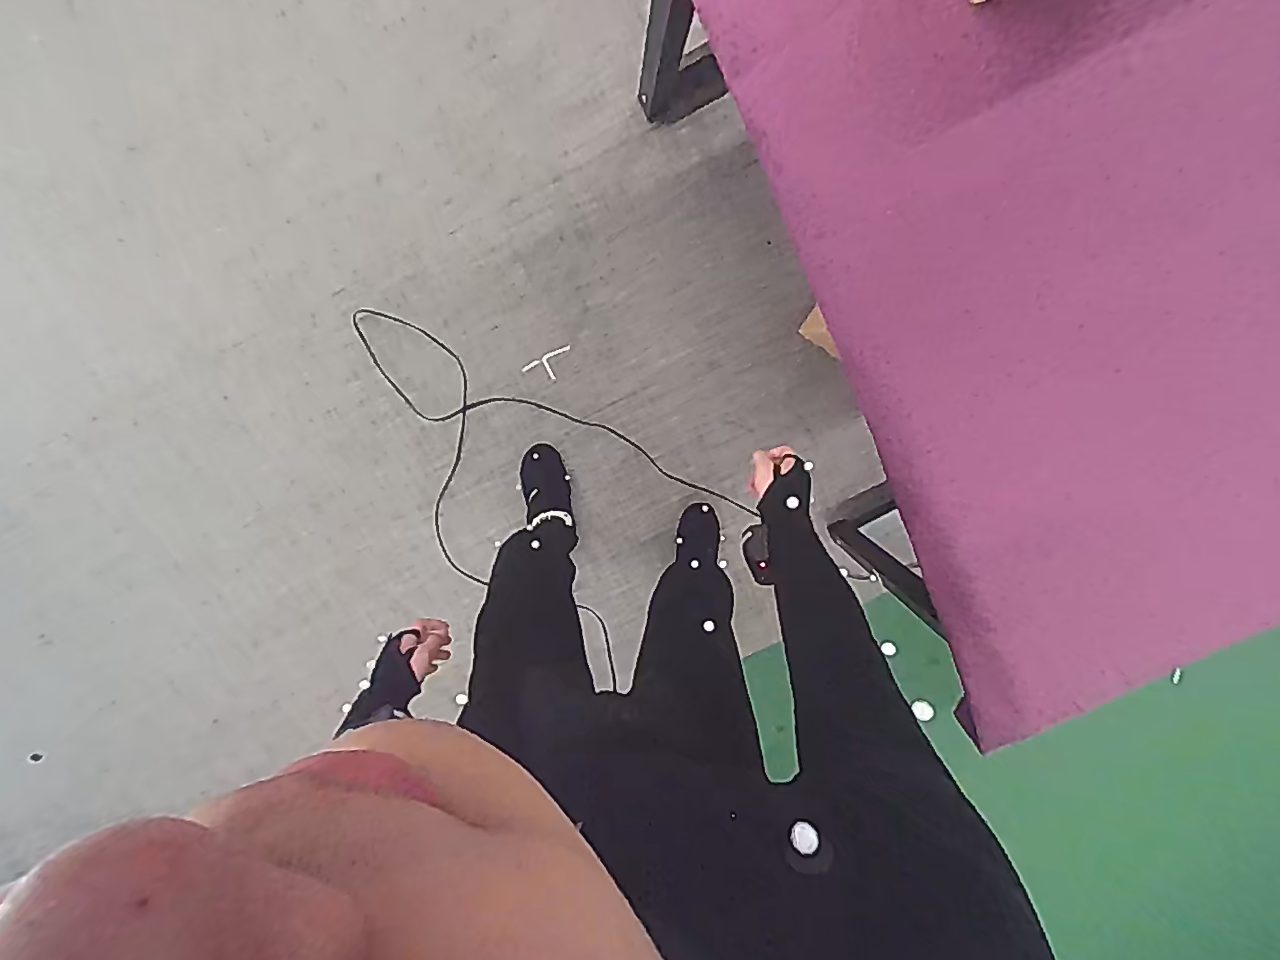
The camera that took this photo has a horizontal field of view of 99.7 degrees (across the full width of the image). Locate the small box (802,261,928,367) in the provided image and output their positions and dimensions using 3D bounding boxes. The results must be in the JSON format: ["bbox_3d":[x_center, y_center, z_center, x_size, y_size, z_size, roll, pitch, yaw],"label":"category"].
[{"bbox_3d":[0.509,-0.374,1.239,0.168,0.176,0.179,30,101,-10],"label":"small box"}]
